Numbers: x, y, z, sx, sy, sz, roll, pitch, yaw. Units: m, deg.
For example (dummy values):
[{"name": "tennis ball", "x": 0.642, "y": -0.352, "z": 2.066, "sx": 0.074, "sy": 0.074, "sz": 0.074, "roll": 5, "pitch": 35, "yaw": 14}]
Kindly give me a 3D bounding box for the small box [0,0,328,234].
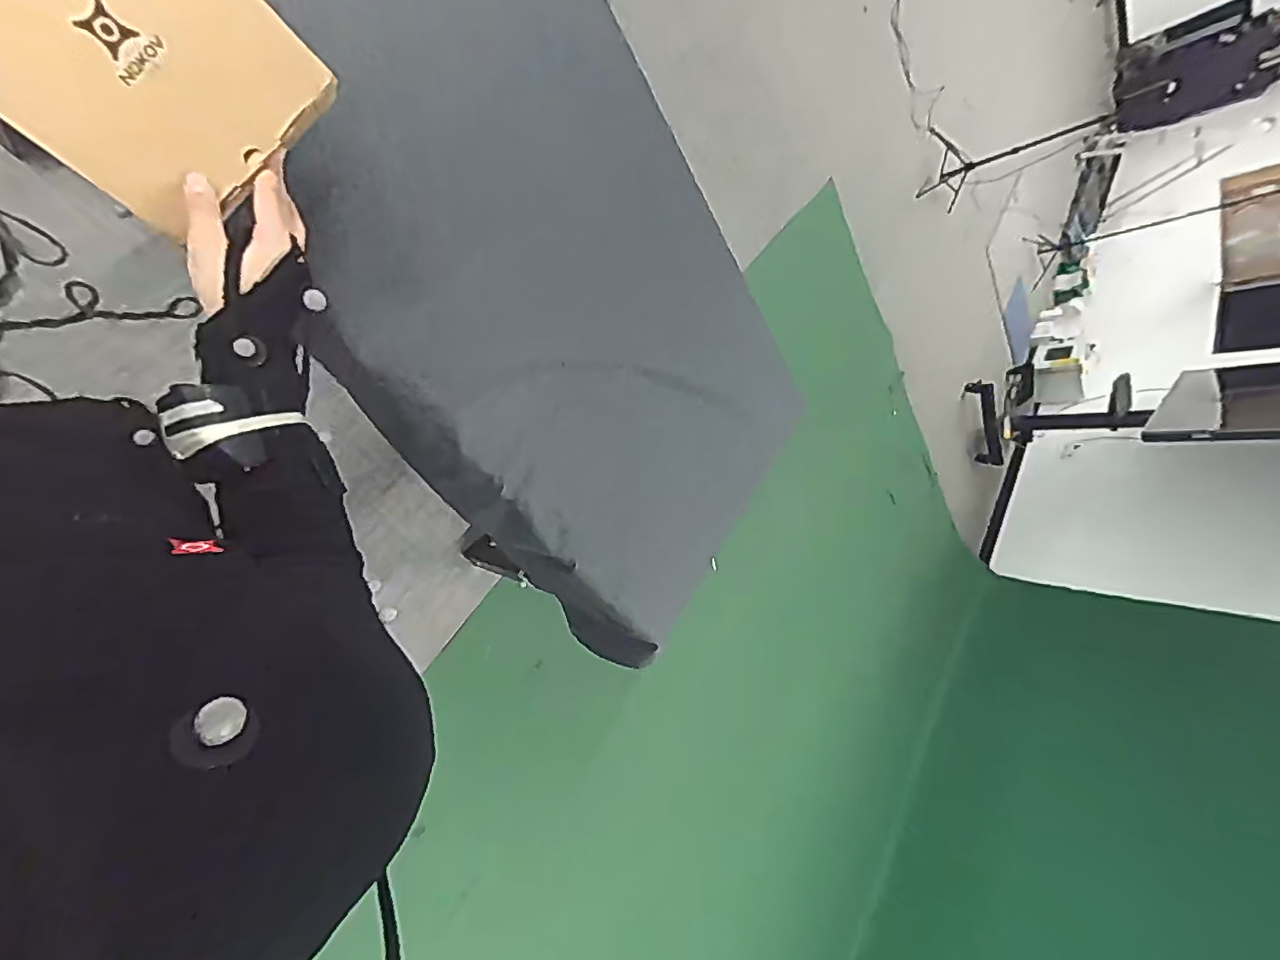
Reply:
[{"name": "small box", "x": -0.356, "y": -0.307, "z": 0.381, "sx": 0.168, "sy": 0.176, "sz": 0.179, "roll": -46, "pitch": 132, "yaw": 2}]
